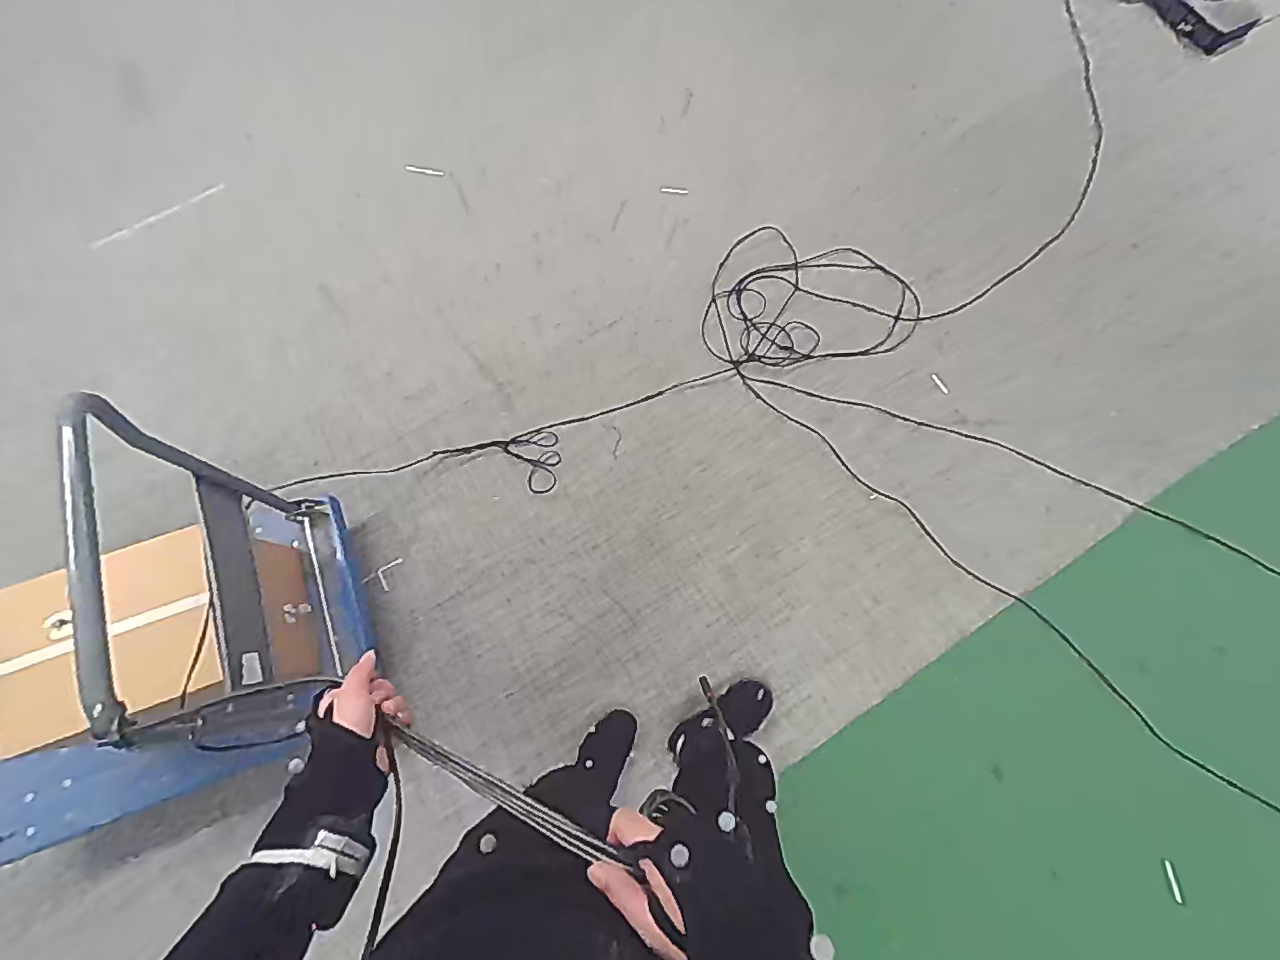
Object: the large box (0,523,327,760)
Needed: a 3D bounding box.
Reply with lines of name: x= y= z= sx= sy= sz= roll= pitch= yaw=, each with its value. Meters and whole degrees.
large box: x=-0.962 y=0.322 z=1.137 sx=0.408 sy=0.320 sz=0.320 roll=-19 pitch=75 yaw=-4
